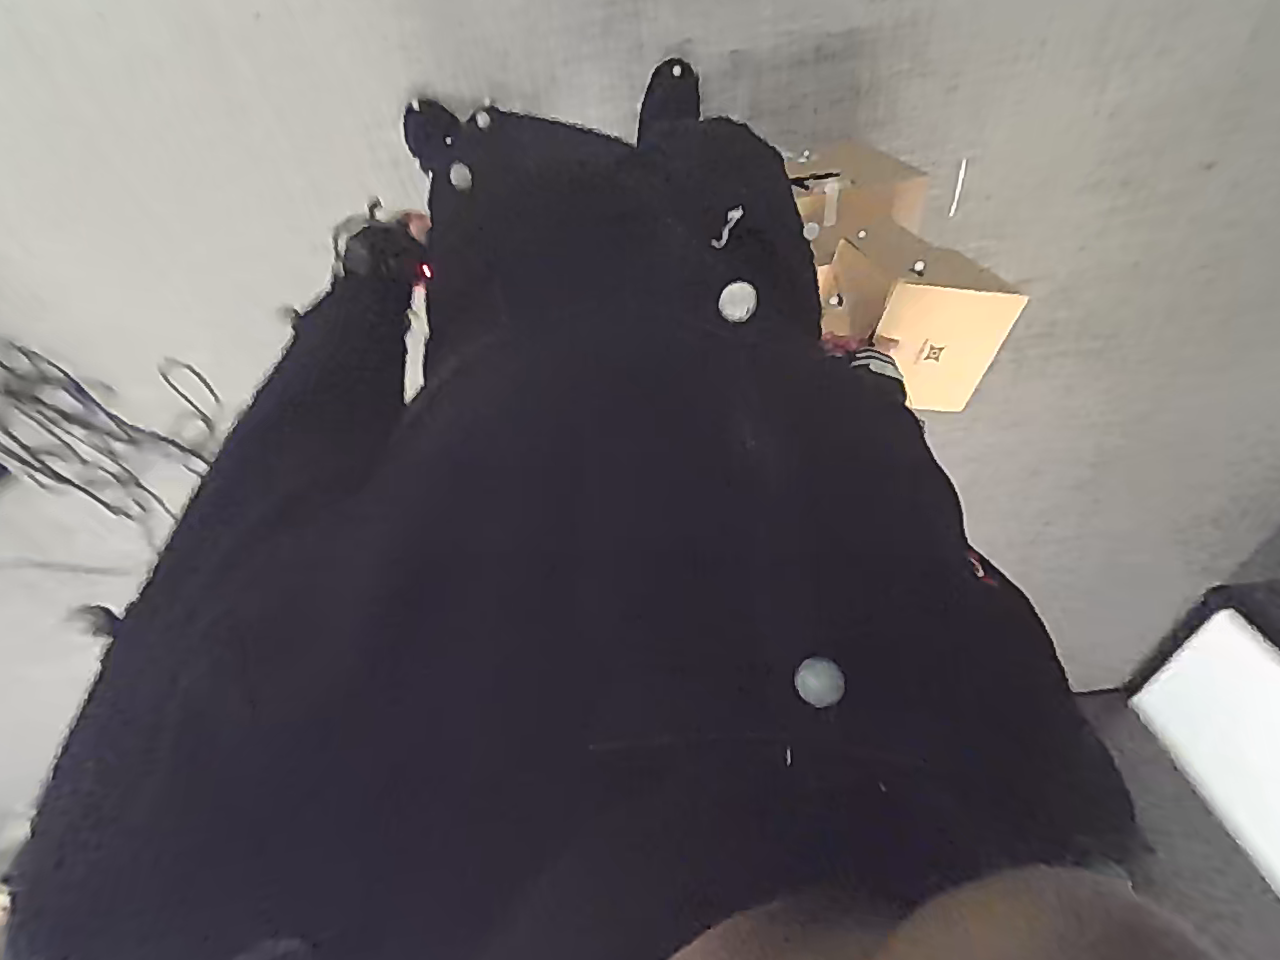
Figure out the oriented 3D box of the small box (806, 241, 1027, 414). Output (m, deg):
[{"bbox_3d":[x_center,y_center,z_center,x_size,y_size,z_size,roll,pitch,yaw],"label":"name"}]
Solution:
[{"bbox_3d":[0.354,-0.208,0.732,0.179,0.176,0.168,4,130,-8],"label":"small box"}]
